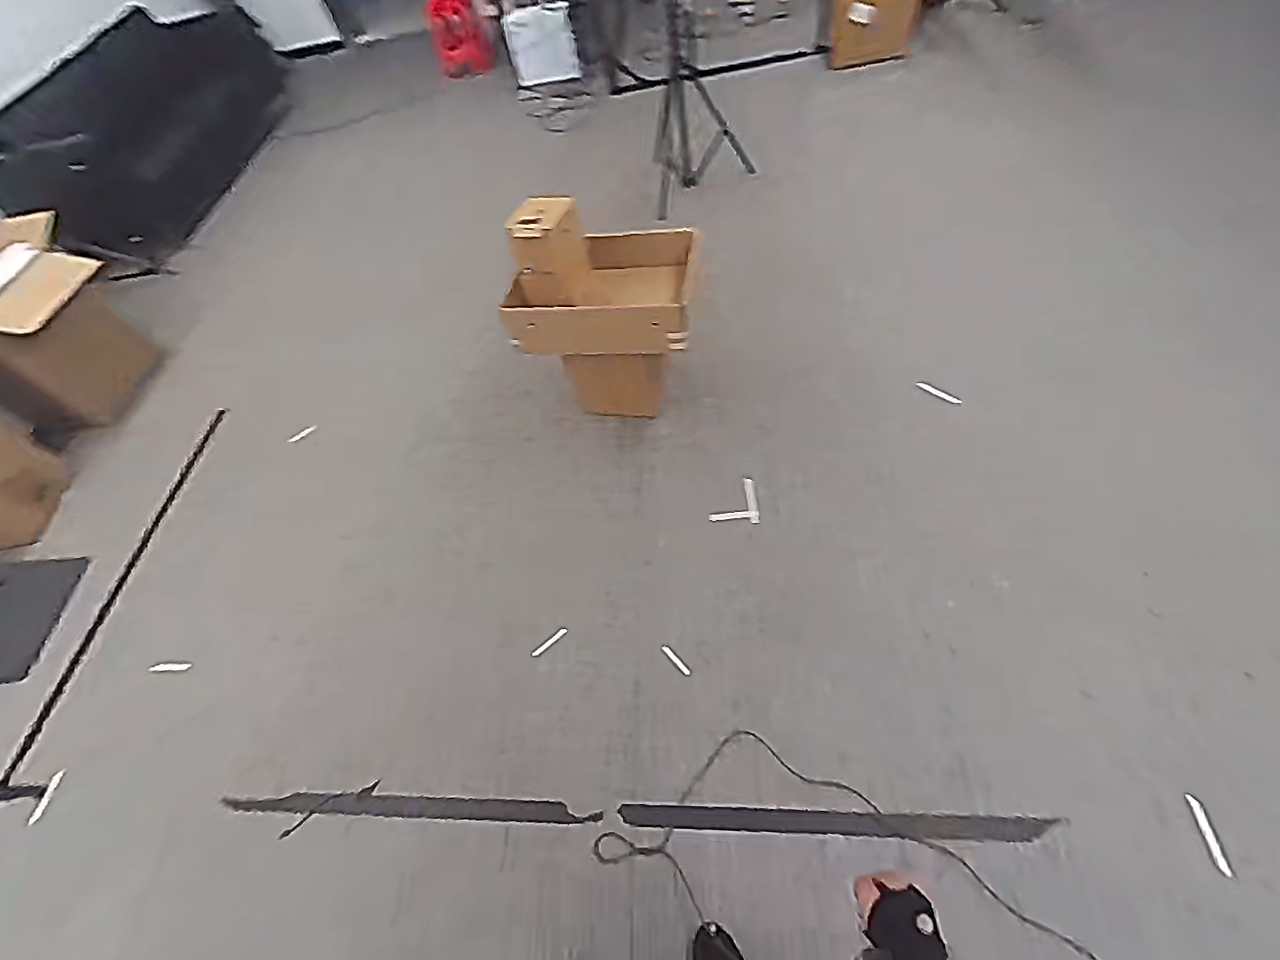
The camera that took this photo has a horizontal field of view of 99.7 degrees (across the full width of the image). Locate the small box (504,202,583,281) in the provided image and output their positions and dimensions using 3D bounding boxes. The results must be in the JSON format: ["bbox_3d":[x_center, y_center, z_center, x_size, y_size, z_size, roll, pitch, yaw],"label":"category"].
[{"bbox_3d":[-0.296,-0.749,1.707,0.168,0.176,0.179,9,58,18],"label":"small box"}]
